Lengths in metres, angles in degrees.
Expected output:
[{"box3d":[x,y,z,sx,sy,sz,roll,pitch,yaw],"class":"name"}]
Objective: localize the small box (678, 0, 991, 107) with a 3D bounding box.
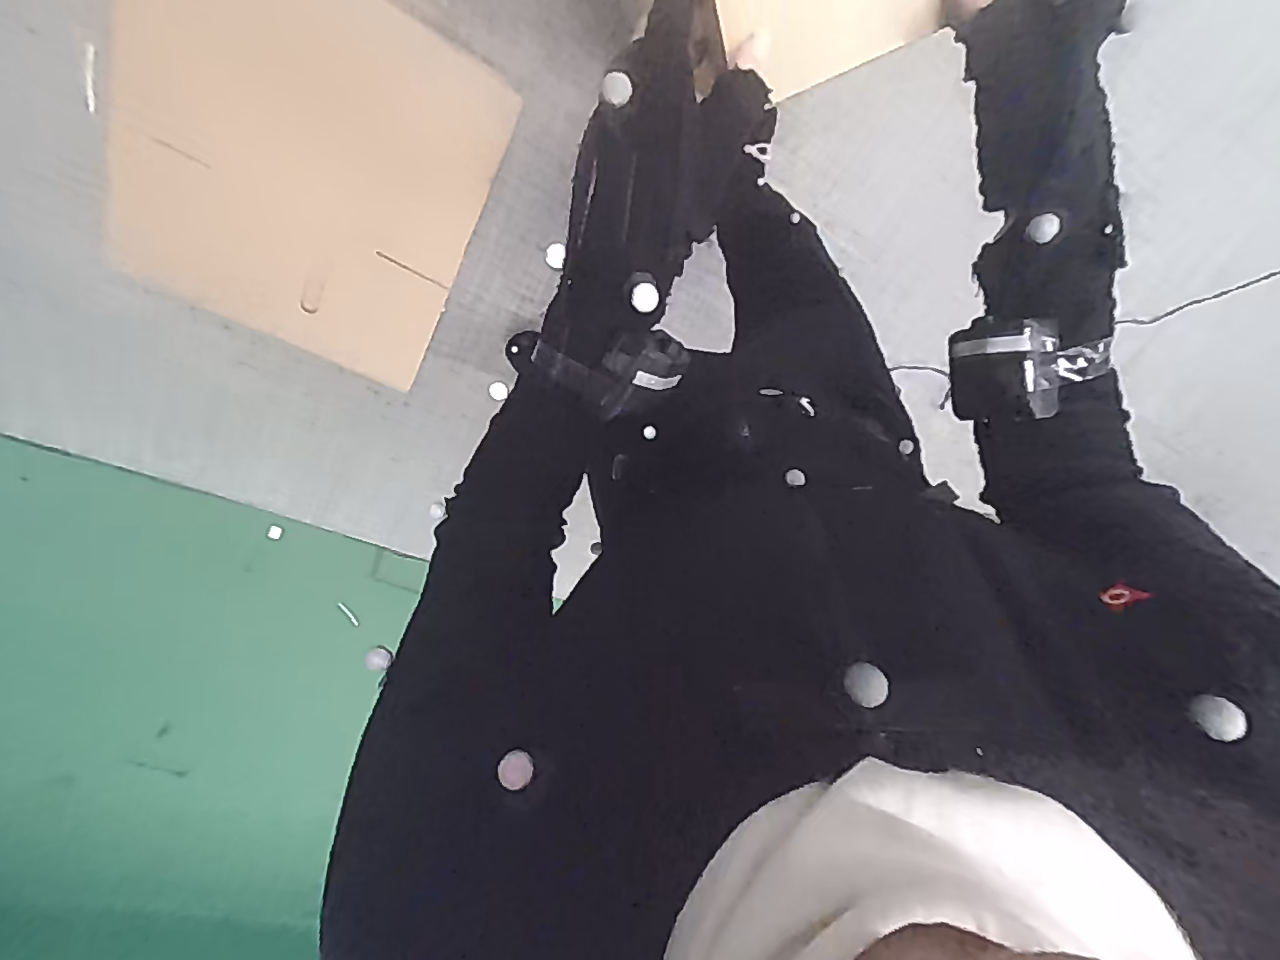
[{"box3d":[0.099,-0.347,0.300,0.168,0.176,0.179,-20,131,10],"class":"small box"}]
